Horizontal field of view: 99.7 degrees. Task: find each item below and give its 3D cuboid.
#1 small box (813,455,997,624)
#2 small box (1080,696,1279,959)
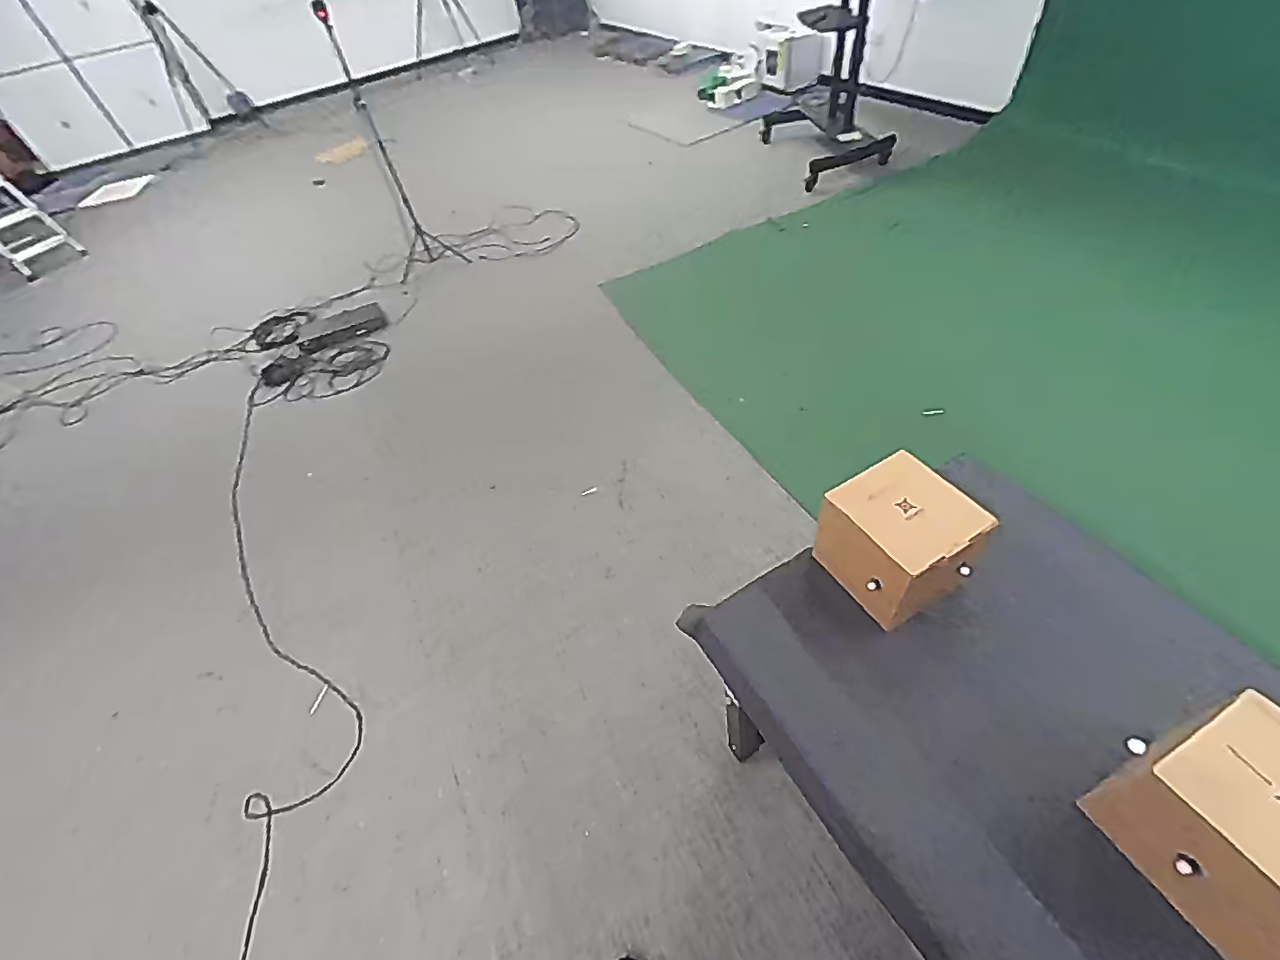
[{"bbox_3d":[0.396,0.099,0.842,0.168,0.176,0.179,-26,49,-16],"label":"small box"},{"bbox_3d":[0.631,0.369,0.566,0.168,0.176,0.179,-24,49,-14],"label":"small box"}]
